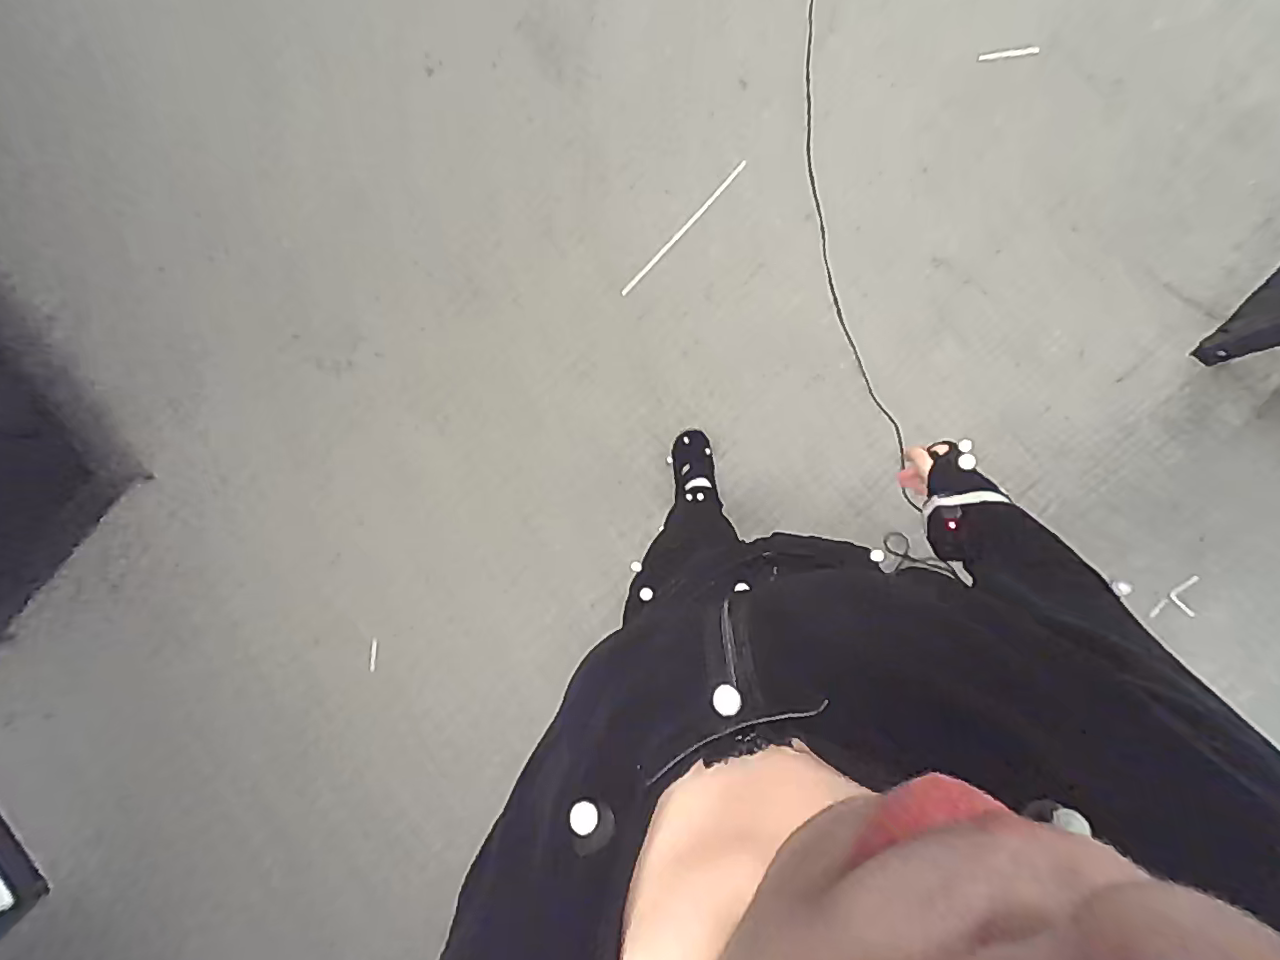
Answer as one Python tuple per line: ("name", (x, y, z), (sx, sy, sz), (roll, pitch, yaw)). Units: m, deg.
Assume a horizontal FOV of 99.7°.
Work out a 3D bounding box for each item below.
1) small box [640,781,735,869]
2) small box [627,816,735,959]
("small box", (0.125, 0.925, 1.395), (0.179, 0.176, 0.168), (-42, 81, 6))
("small box", (0.098, 0.918, 1.232), (0.179, 0.176, 0.168), (-41, 82, 8))
